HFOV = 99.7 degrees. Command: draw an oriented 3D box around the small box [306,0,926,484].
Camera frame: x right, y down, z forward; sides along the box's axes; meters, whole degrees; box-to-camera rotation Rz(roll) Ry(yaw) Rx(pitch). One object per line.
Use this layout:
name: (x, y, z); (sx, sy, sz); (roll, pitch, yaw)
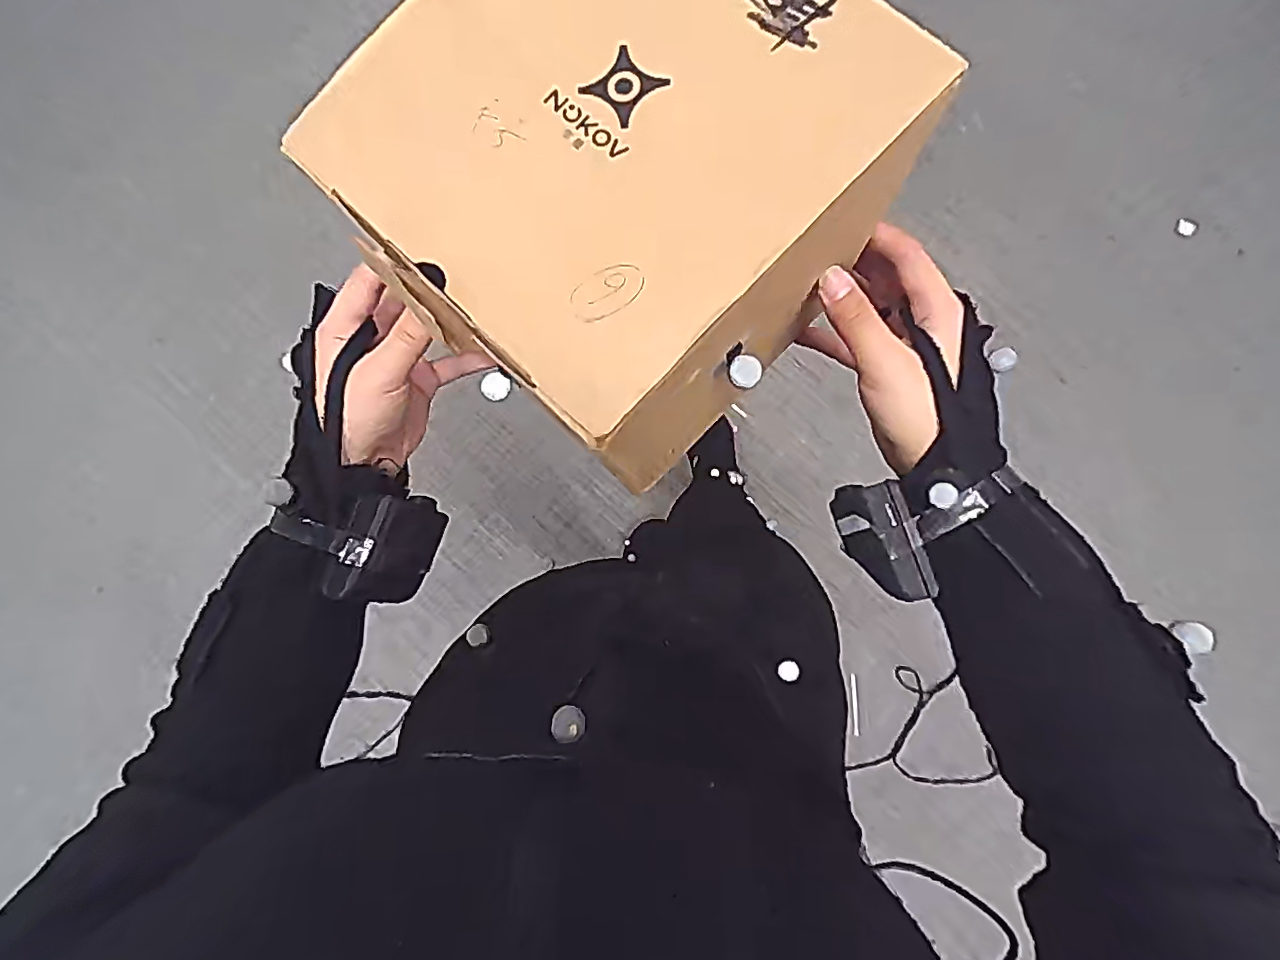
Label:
small box: (-0.006, -0.115, 0.276); (0.168, 0.176, 0.179); (43, 89, 8)
